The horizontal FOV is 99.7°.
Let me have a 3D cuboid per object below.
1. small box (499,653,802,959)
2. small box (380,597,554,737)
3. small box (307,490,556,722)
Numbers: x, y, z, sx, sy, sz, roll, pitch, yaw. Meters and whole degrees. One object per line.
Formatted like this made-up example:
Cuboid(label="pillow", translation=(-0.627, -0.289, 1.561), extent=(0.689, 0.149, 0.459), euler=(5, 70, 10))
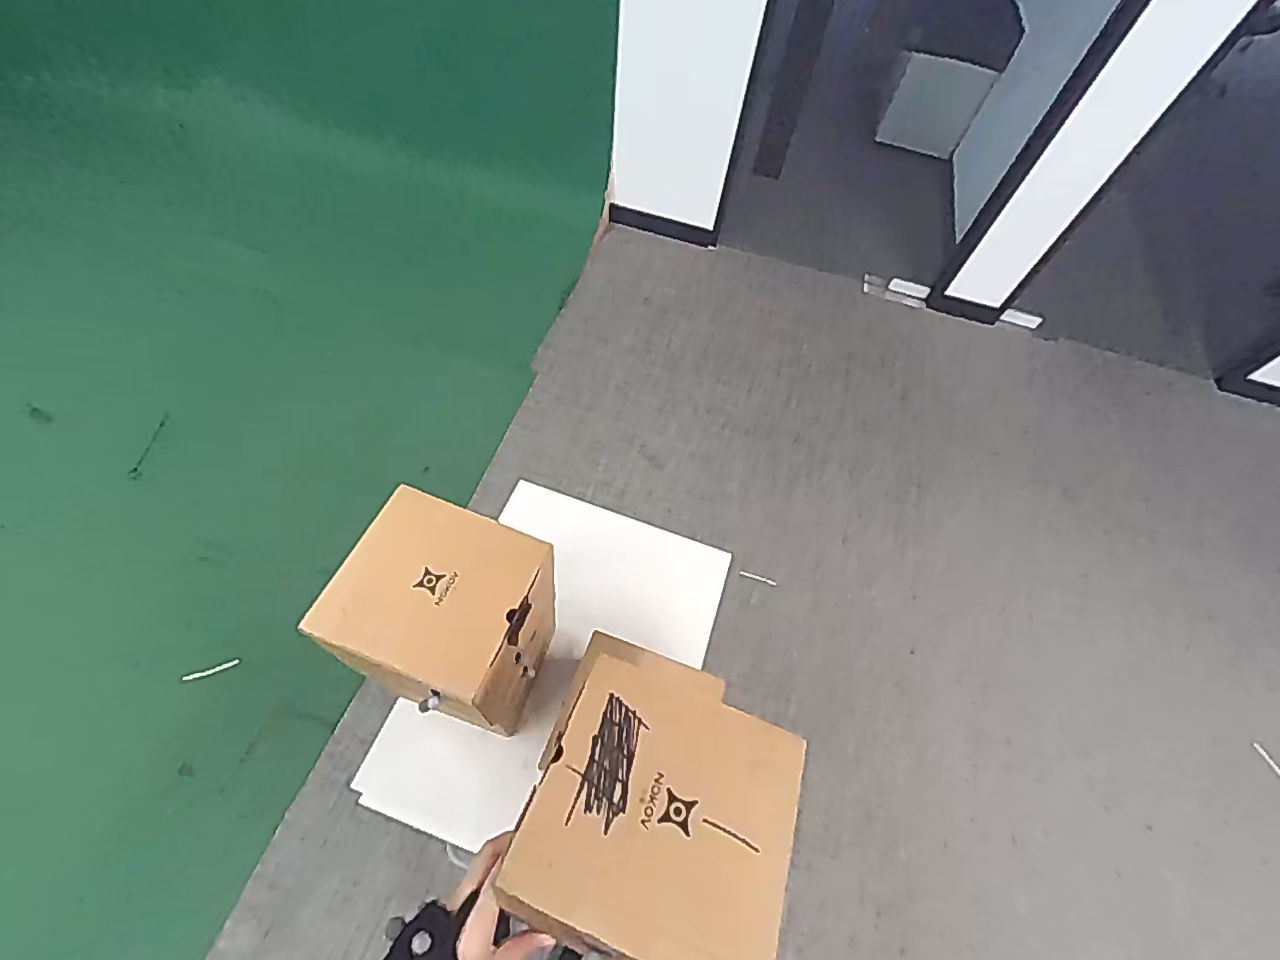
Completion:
Cuboid(label="small box", translation=(0.006, 0.277, 0.434), extent=(0.179, 0.176, 0.168), euler=(21, 46, 8))
Cuboid(label="small box", translation=(-0.227, 0.229, 0.727), extent=(0.179, 0.176, 0.168), euler=(19, 57, 4))
Cuboid(label="small box", translation=(-0.206, 0.144, 0.589), extent=(0.179, 0.176, 0.168), euler=(22, 57, 3))
